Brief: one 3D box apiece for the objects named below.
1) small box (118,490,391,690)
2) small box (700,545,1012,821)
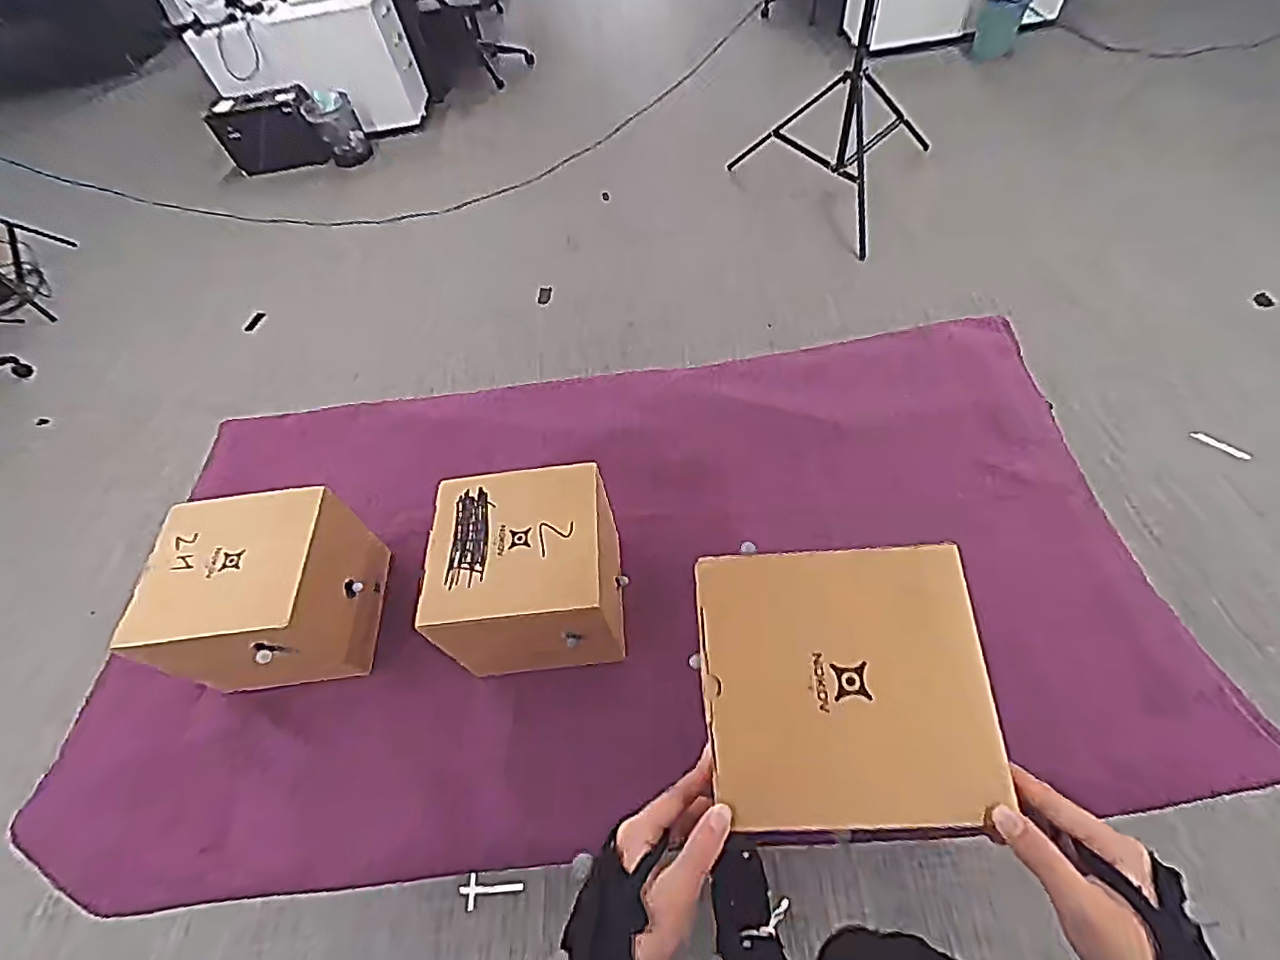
[{"bbox_3d":[-0.417,0.132,0.628,0.179,0.176,0.168,-7,55,0],"label":"small box"},{"bbox_3d":[0.139,0.150,0.424,0.179,0.176,0.168,-5,71,6],"label":"small box"}]
